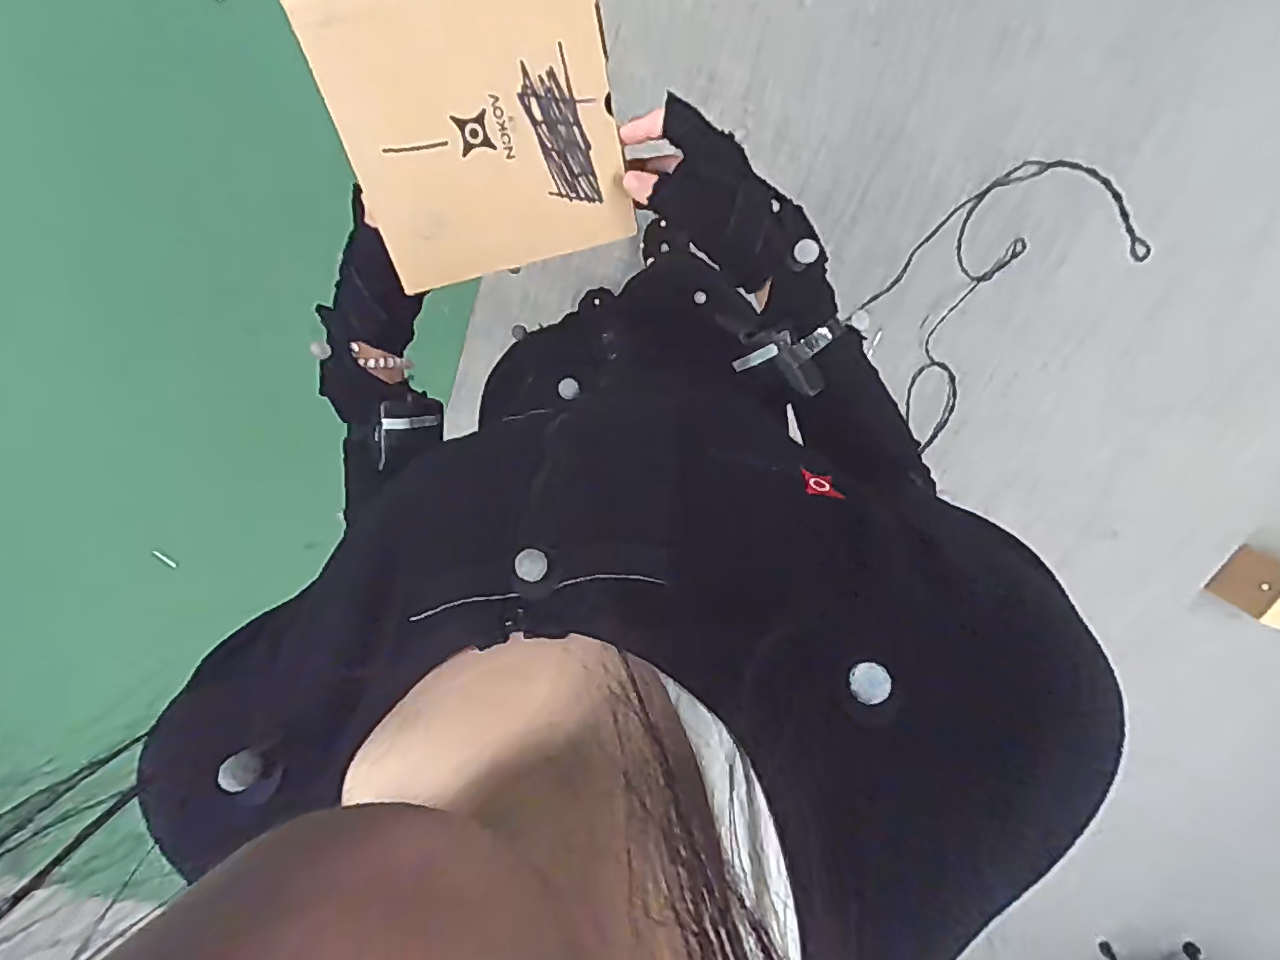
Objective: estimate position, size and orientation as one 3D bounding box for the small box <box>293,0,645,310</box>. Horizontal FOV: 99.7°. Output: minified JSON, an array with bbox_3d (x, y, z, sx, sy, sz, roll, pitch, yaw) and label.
[{"bbox_3d":[-0.113,-0.249,0.410,0.179,0.176,0.168,-18,123,-6],"label":"small box"}]

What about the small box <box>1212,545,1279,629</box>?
[{"bbox_3d":[1.867,0.322,1.590,0.168,0.176,0.179,18,111,-7],"label":"small box"}]
